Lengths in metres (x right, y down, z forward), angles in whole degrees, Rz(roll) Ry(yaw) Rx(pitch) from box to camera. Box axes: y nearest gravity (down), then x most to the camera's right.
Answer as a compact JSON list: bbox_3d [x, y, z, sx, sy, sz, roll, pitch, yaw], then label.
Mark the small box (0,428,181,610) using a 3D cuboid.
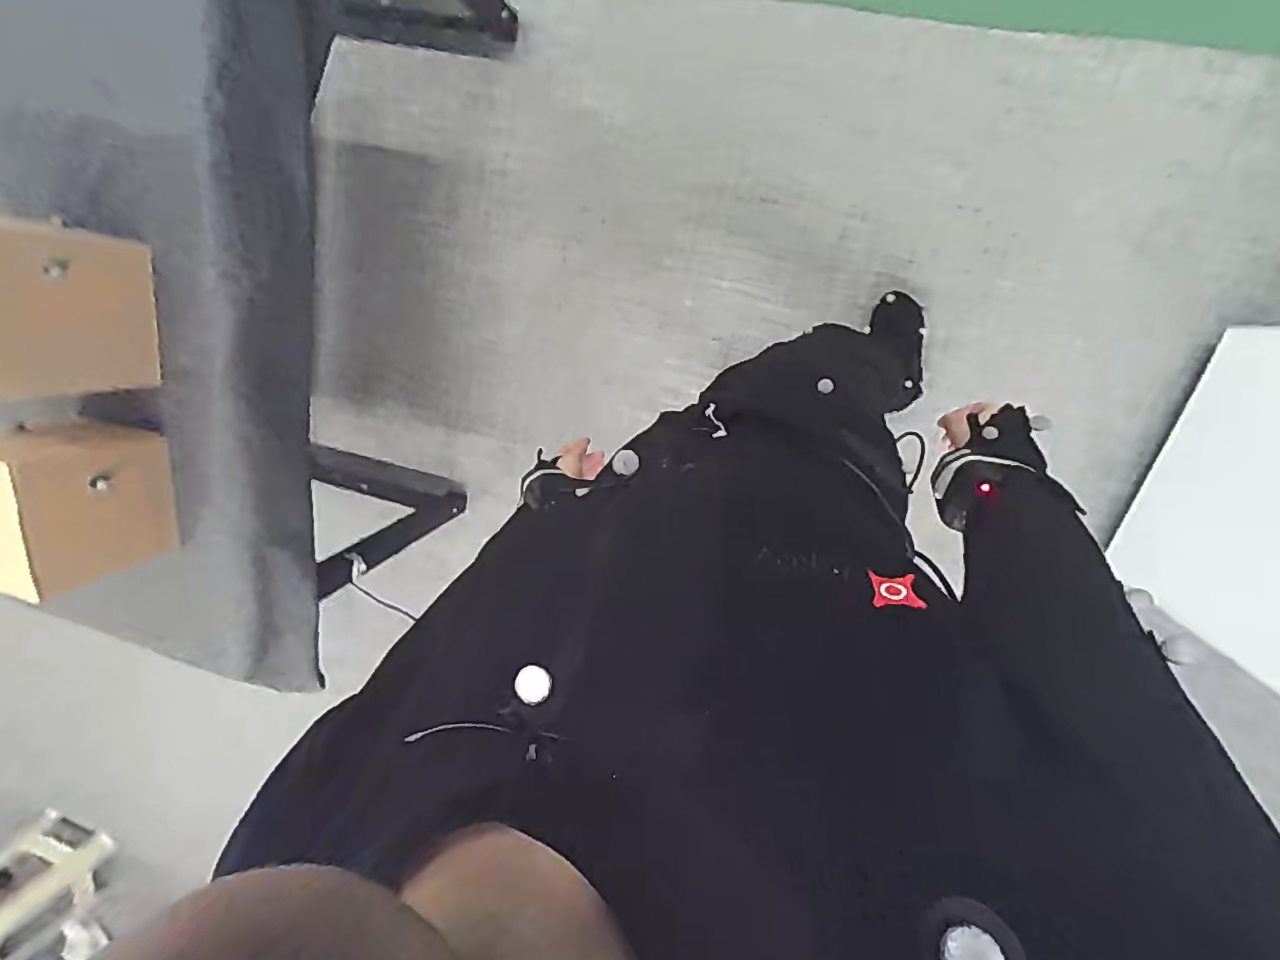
[{"bbox_3d":[-0.747,0.037,0.696,0.168,0.176,0.179,10,108,11],"label":"small box"}]
